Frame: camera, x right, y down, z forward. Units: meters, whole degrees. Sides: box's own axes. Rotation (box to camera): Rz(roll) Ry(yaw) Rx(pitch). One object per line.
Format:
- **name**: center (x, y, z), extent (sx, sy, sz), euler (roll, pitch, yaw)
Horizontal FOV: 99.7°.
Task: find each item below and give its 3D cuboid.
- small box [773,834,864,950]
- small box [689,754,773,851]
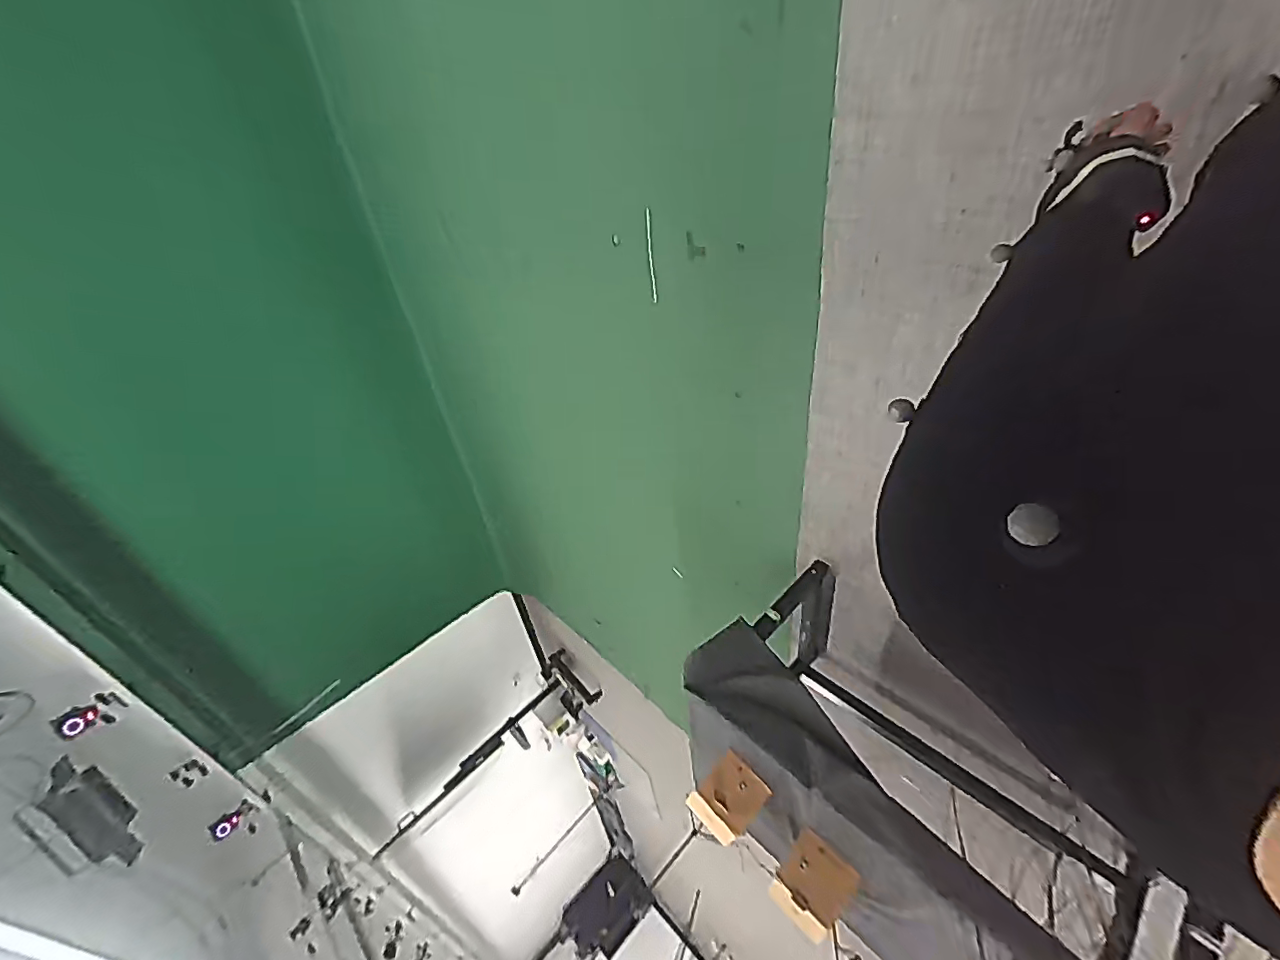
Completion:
- **small box**: center (0.483, 1.108, 1.463), extent (0.168, 0.176, 0.179), euler (31, 143, 37)
- **small box**: center (0.273, 0.959, 1.614), extent (0.168, 0.176, 0.179), euler (39, 145, 26)
